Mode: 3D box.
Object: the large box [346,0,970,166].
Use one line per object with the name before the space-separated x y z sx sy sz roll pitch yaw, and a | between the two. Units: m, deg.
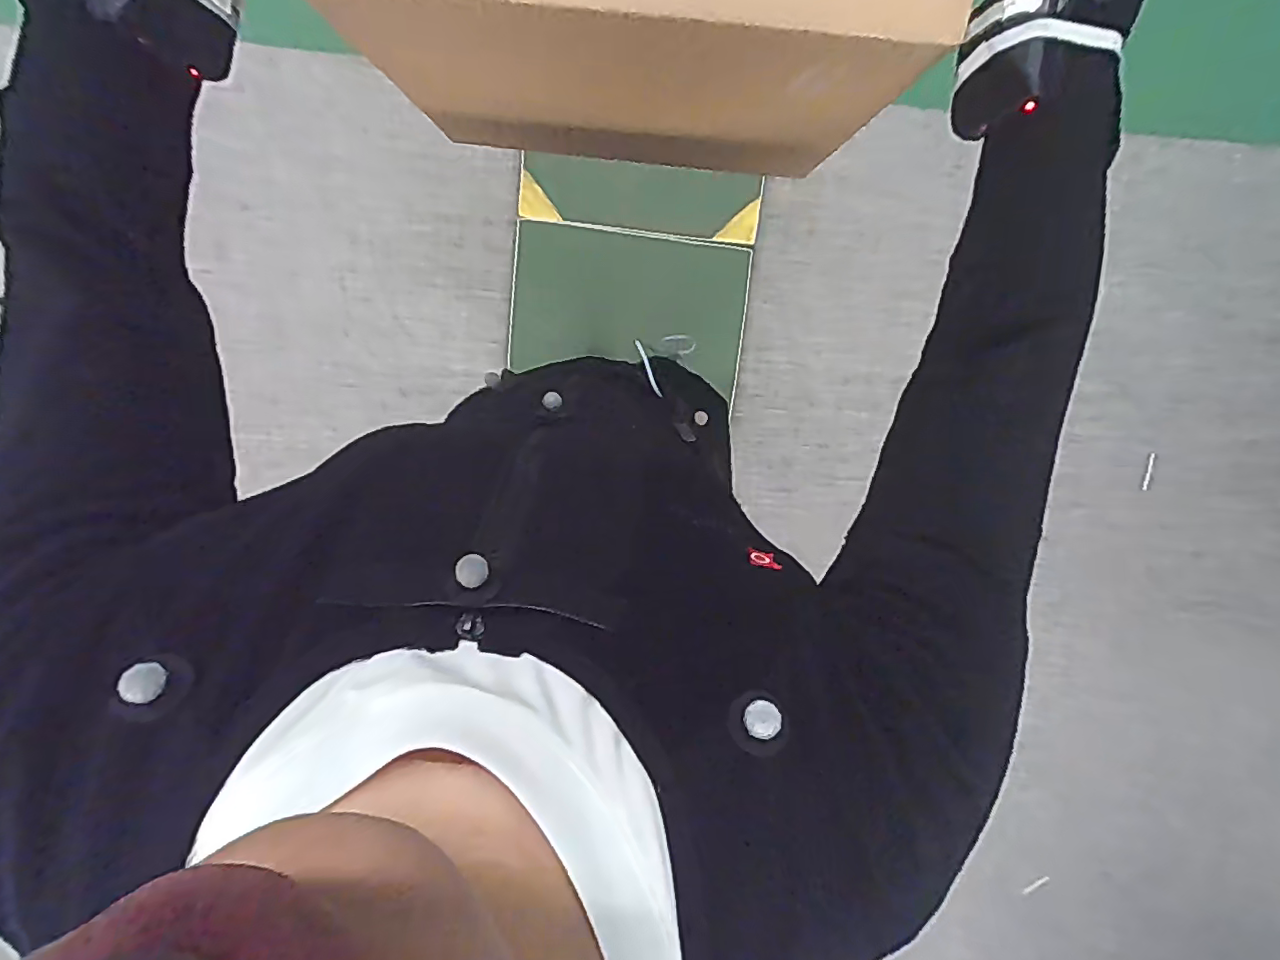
large box | 0.009 -0.474 0.430 0.408 0.320 0.320 4 107 -3
